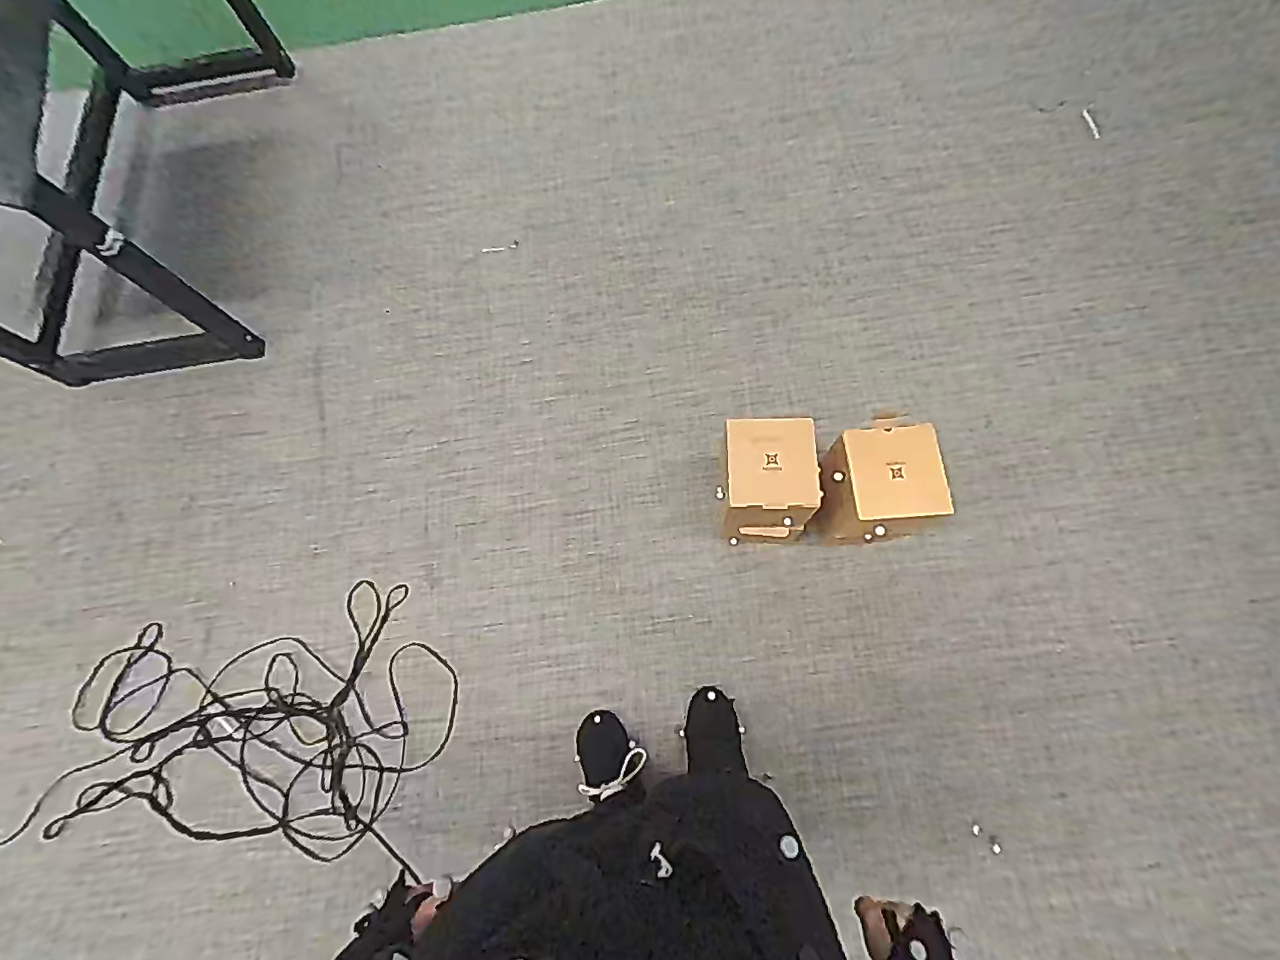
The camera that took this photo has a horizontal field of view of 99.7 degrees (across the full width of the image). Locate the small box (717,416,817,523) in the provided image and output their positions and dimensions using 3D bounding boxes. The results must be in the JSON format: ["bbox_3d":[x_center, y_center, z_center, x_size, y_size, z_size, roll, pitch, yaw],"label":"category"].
[{"bbox_3d":[0.243,-0.014,1.074,0.168,0.176,0.179,0,71,3],"label":"small box"}]

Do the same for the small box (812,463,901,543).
[{"bbox_3d":[0.485,0.036,1.211,0.168,0.176,0.179,-4,72,2],"label":"small box"}]

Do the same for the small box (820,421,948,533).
[{"bbox_3d":[0.463,0.003,1.052,0.168,0.176,0.179,-4,72,3],"label":"small box"}]
